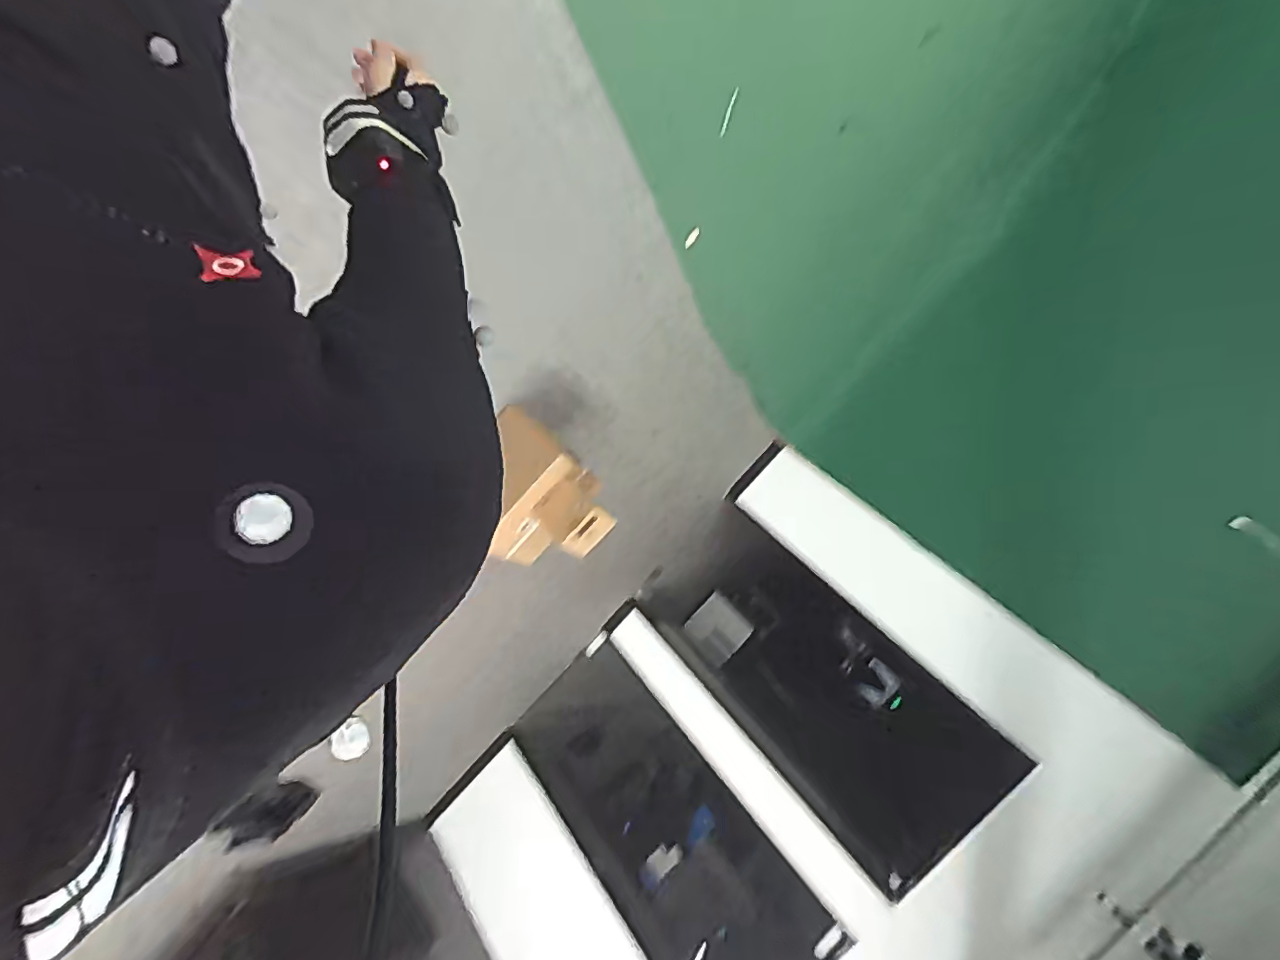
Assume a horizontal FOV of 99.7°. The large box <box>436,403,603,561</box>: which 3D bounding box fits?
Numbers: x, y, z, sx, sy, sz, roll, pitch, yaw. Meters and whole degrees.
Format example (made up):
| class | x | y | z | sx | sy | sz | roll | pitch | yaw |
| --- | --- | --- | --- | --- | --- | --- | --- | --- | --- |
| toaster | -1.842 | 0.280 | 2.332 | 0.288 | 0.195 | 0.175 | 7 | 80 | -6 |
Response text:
| class | x | y | z | sx | sy | sz | roll | pitch | yaw |
| --- | --- | --- | --- | --- | --- | --- | --- | --- | --- |
| large box | -0.411 | 0.013 | 1.872 | 0.408 | 0.320 | 0.320 | -46 | 150 | 4 |
